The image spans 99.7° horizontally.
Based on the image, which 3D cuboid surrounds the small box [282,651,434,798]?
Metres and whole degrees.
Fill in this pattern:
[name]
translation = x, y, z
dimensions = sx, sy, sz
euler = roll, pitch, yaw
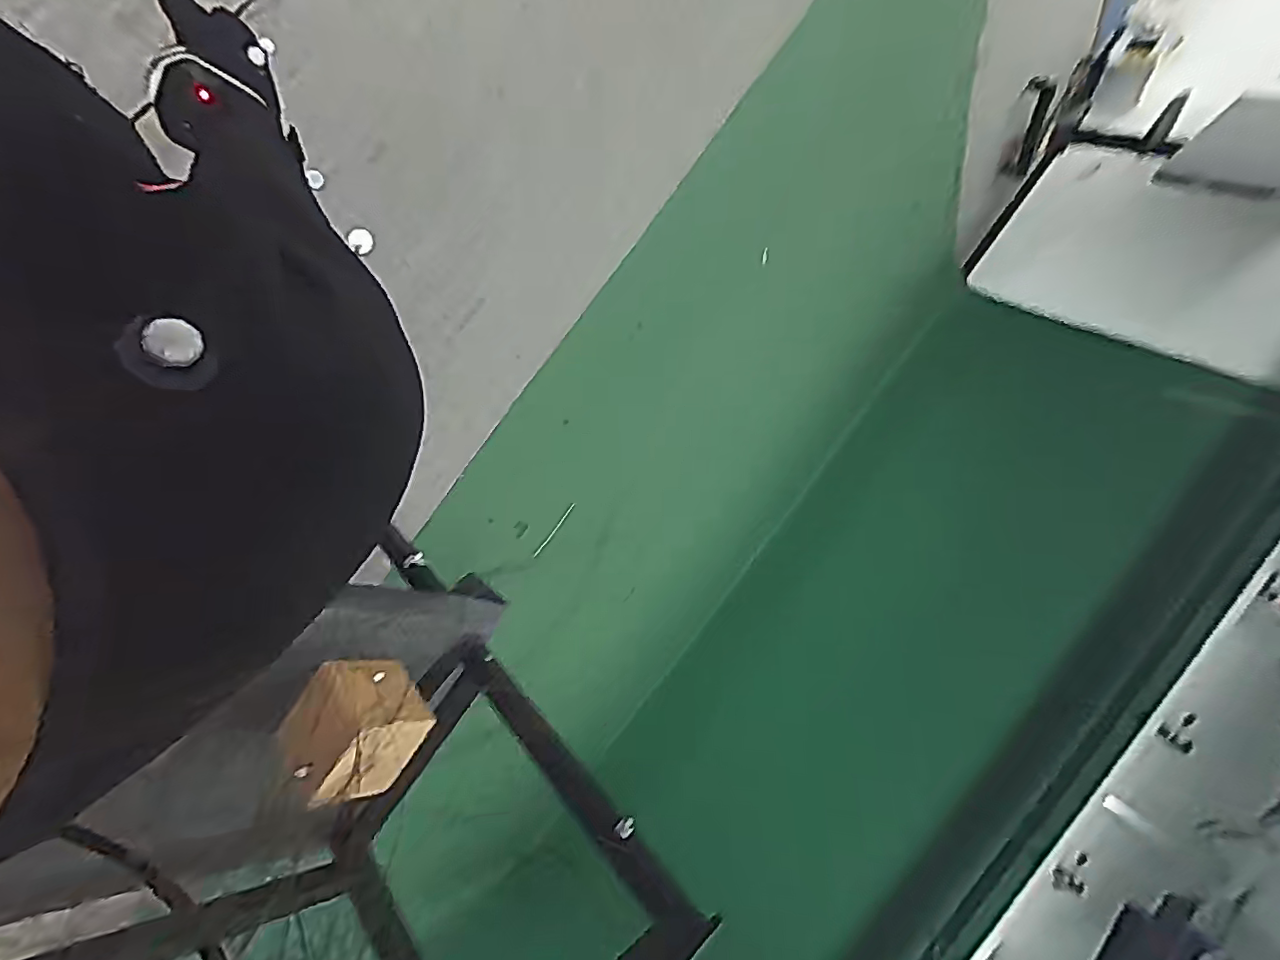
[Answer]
[small box]
translation = -0.532, 0.446, 1.013
dimensions = 0.179, 0.176, 0.168
euler = -55, 149, 3
